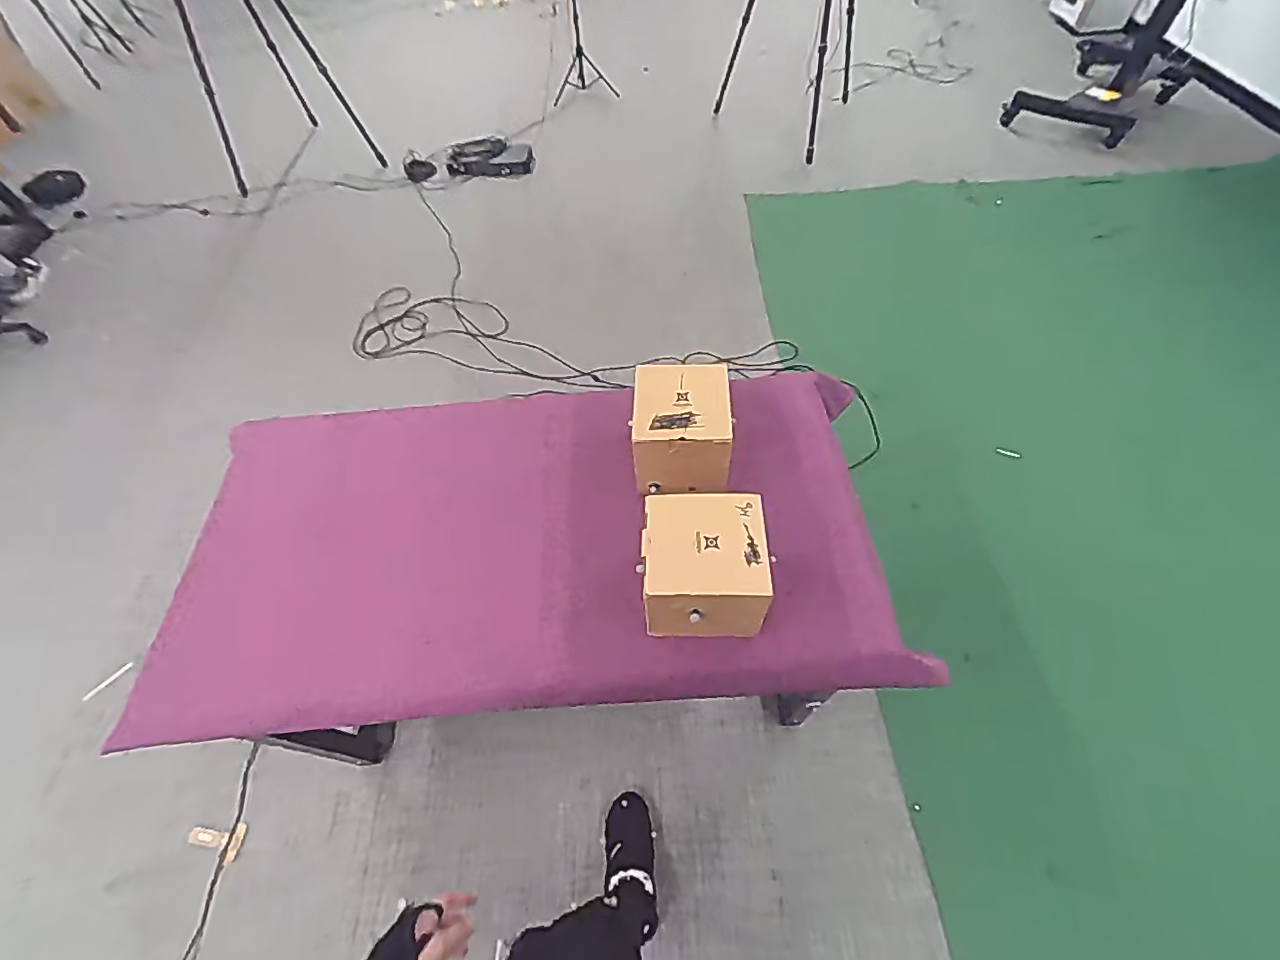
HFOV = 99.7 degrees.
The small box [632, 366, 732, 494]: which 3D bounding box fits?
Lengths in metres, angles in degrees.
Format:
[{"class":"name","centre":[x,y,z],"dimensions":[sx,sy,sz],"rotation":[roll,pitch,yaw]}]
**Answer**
[{"class":"small box","centre":[0.078,-0.087,0.985],"dimensions":[0.168,0.176,0.179],"rotation":[1,56,4]}]

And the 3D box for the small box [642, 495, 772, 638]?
[{"class":"small box","centre":[0.098,0.137,0.832],"dimensions":[0.179,0.176,0.168],"rotation":[0,55,4]}]
